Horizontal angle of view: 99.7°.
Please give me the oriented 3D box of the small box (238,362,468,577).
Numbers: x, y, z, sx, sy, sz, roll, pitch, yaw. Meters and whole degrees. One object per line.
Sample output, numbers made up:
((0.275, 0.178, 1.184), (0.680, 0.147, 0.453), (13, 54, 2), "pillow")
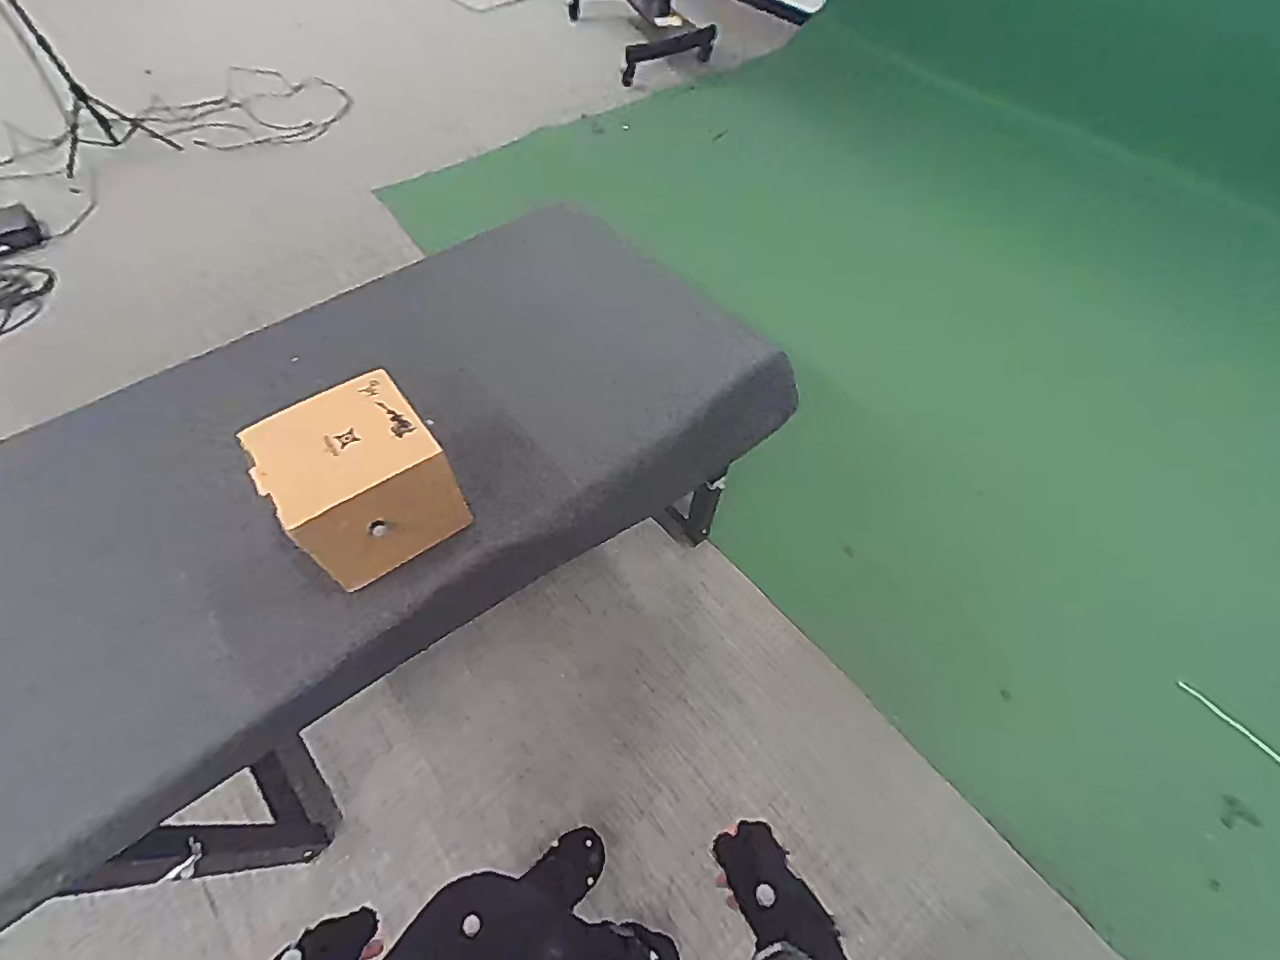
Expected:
((-0.346, -0.007, 0.681), (0.179, 0.176, 0.168), (-33, 64, -20), "small box")
